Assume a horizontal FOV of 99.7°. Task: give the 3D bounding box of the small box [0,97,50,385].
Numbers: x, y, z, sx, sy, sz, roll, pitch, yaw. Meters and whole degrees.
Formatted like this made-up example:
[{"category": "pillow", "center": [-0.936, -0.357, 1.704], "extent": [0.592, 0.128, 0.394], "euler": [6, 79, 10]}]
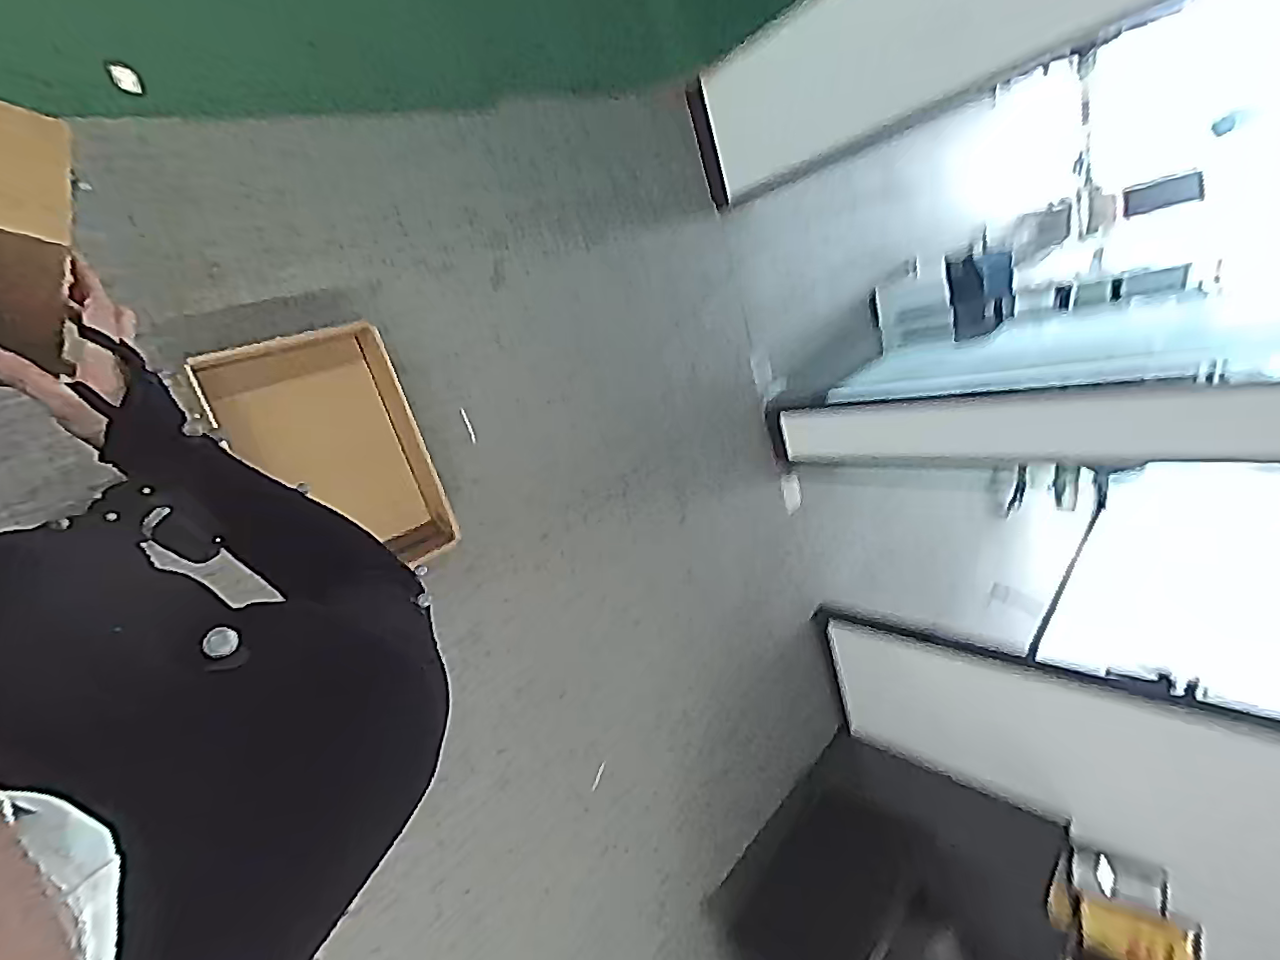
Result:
[{"category": "small box", "center": [-0.568, -0.194, 0.407], "extent": [0.168, 0.176, 0.179], "euler": [0, 52, -49]}]
